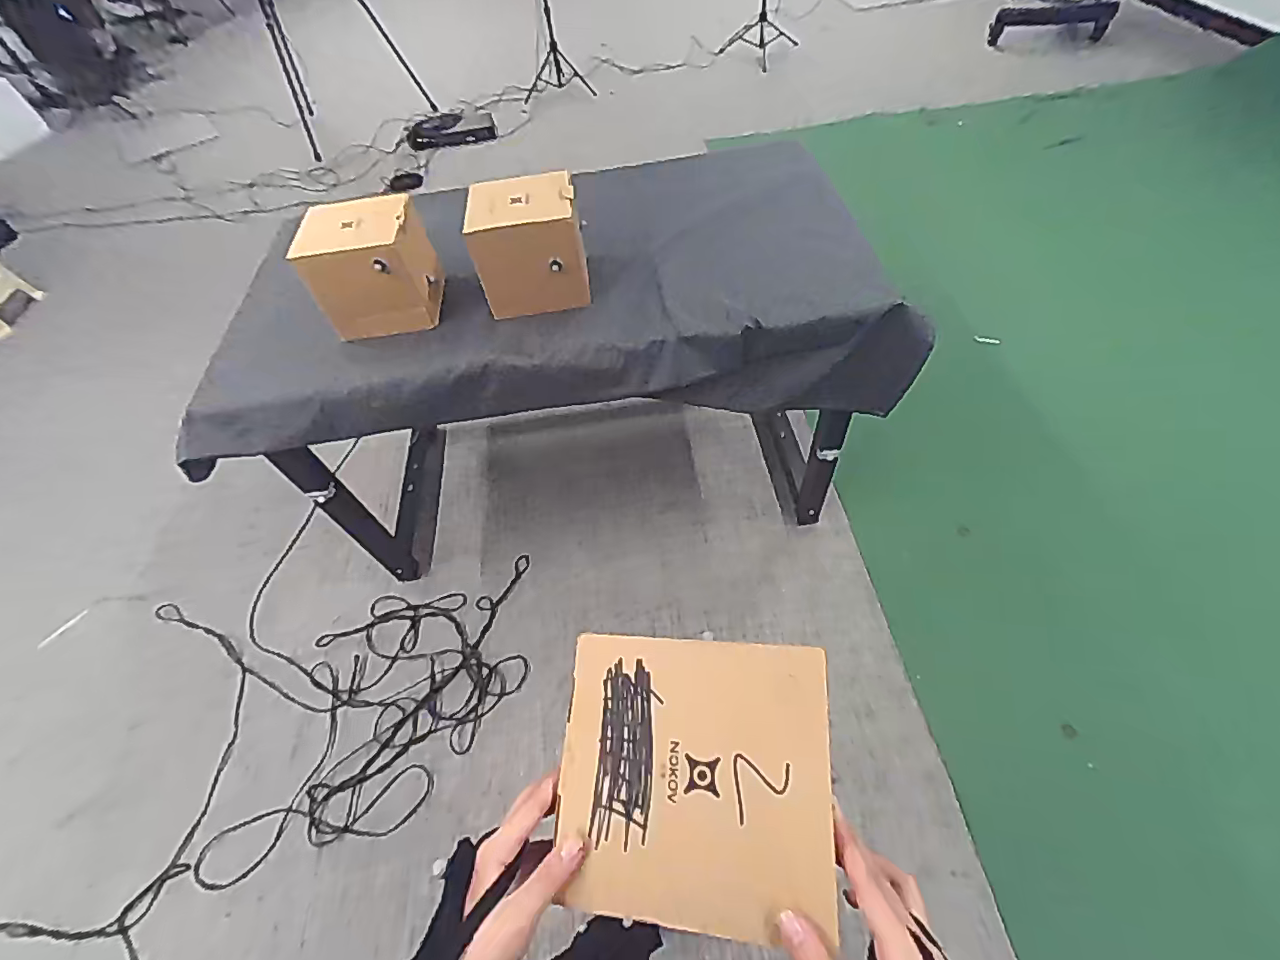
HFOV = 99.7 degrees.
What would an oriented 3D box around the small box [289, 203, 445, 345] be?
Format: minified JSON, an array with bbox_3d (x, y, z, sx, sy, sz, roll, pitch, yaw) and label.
[{"bbox_3d":[-0.472,-0.360,0.963,0.179,0.176,0.168,-9,53,-1],"label":"small box"}]

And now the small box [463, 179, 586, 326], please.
[{"bbox_3d":[-0.194,-0.398,0.958,0.179,0.176,0.168,-10,52,1],"label":"small box"}]
